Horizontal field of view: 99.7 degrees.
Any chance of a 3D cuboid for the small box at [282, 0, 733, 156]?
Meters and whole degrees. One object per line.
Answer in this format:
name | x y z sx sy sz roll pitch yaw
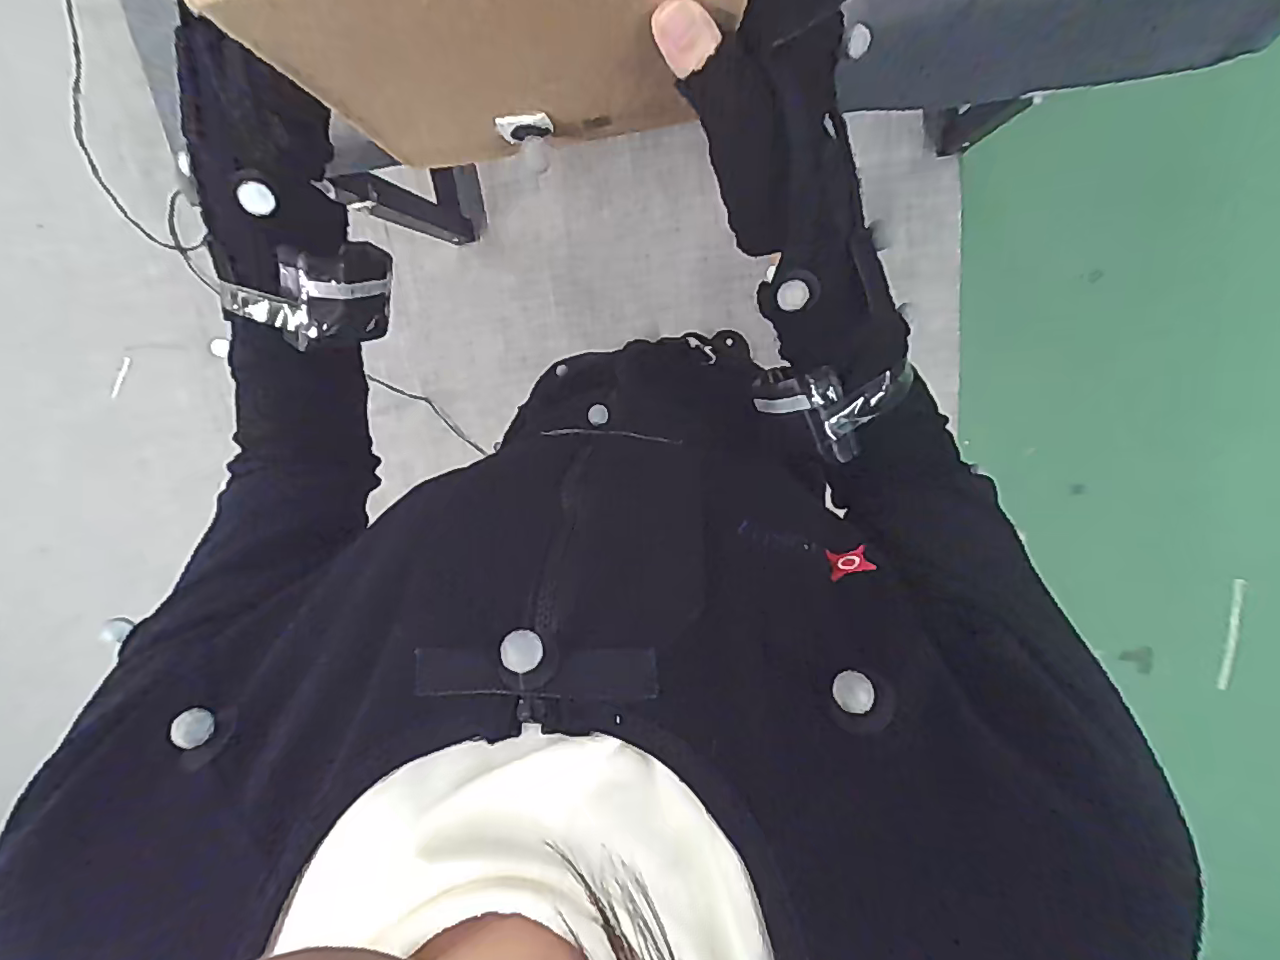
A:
small box | -0.056 -0.255 0.202 0.168 0.176 0.179 -8 104 2
